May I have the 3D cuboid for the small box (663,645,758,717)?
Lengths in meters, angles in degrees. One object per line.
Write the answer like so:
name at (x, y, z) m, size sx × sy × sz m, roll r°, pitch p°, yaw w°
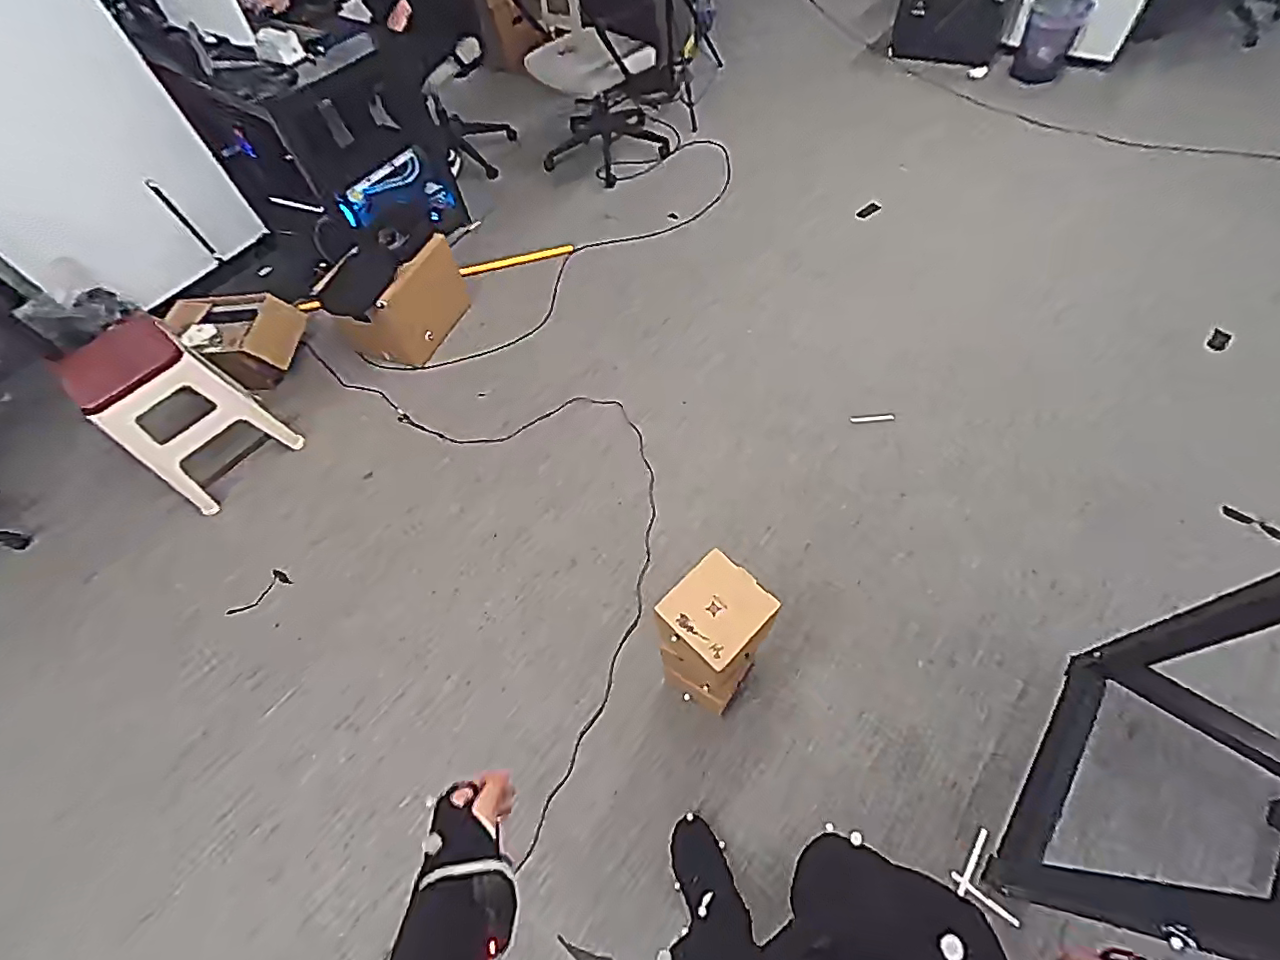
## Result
small box at (0.171, 0.455, 1.337) m, size 0.168 × 0.176 × 0.179 m, roll 29°, pitch 66°, yaw 22°

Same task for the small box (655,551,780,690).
small box at (0.146, 0.279, 1.064) m, size 0.179 × 0.176 × 0.168 m, roll -40°, pitch 63°, yaw -19°

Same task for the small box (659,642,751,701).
small box at (0.159, 0.365, 1.203) m, size 0.168 × 0.176 × 0.179 m, roll 26°, pitch 63°, yaw 19°
